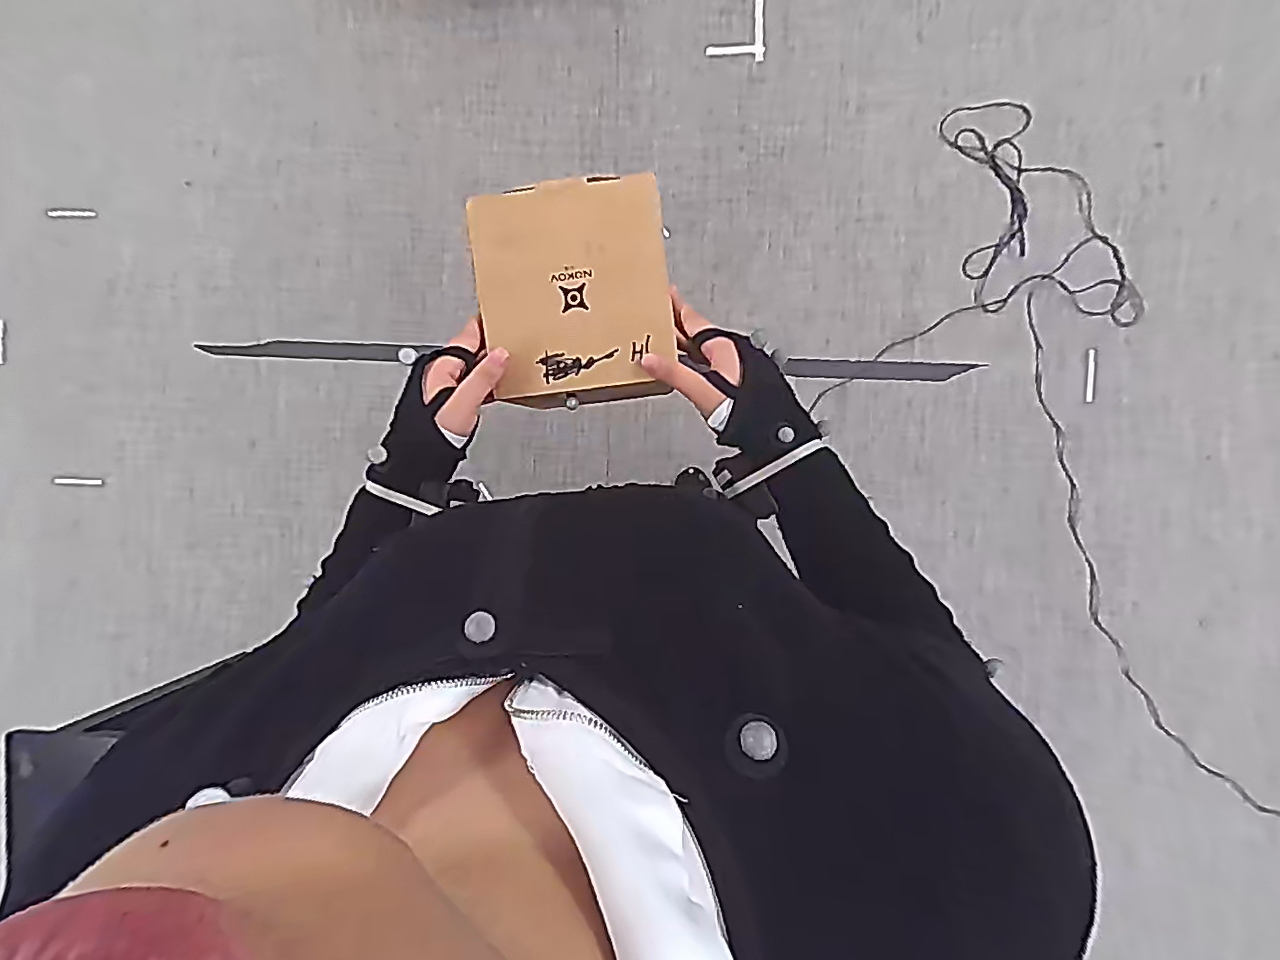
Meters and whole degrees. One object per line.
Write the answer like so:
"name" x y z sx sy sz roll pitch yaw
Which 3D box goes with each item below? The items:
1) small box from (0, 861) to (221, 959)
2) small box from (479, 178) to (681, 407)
"small box" -0.728 0.670 0.750 0.179 0.176 0.168 4 91 4
"small box" -0.051 -0.174 0.554 0.168 0.176 0.179 -6 95 2
